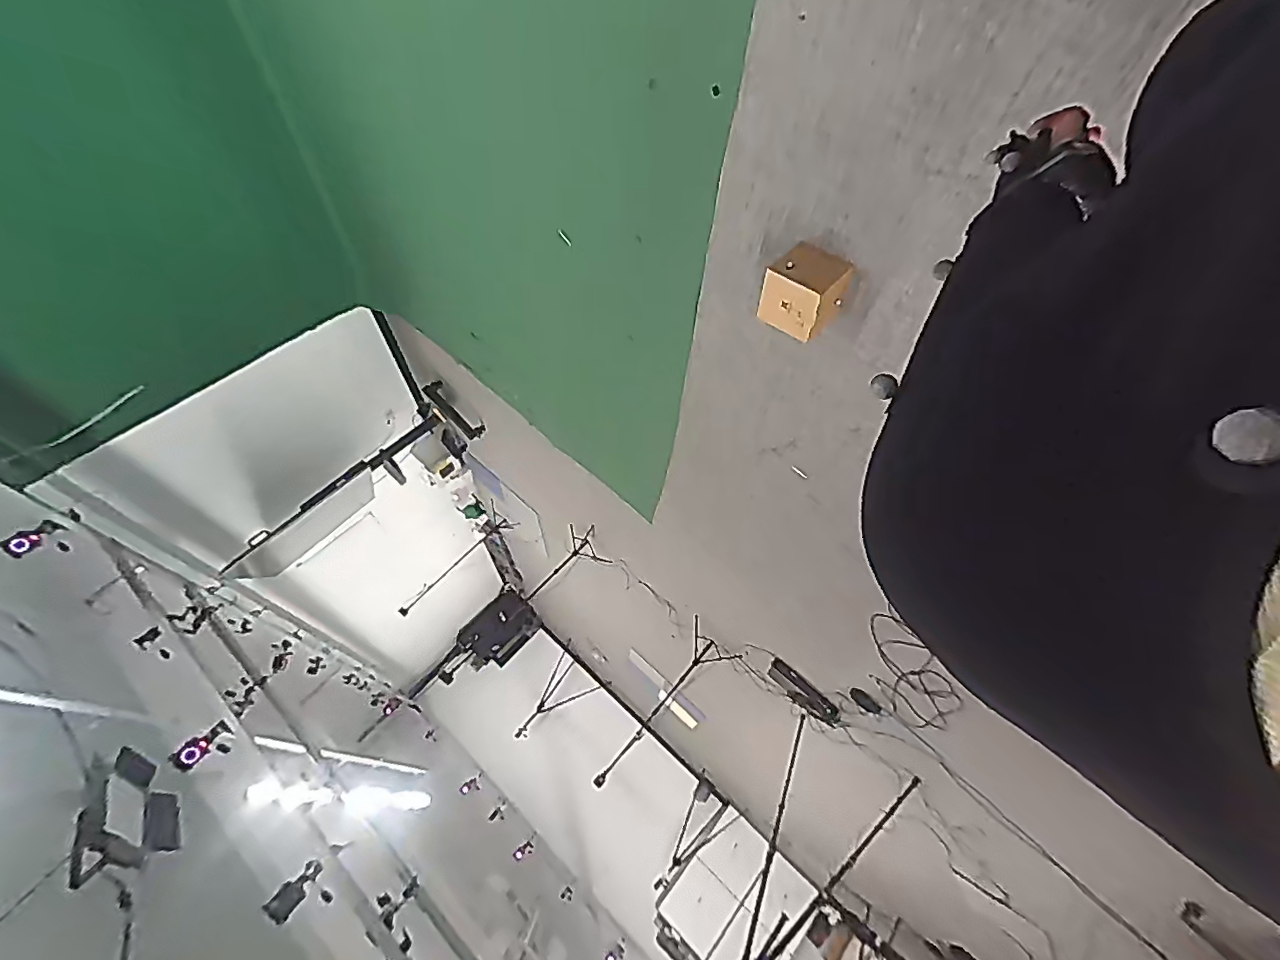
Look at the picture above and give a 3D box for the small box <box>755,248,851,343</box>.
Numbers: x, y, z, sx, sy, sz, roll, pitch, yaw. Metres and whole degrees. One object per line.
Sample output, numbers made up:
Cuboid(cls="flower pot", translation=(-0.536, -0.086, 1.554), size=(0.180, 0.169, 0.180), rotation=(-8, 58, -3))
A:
Cuboid(cls="small box", translation=(0.457, -0.527, 1.527), size=(0.179, 0.176, 0.168), rotation=(37, 154, 22))
